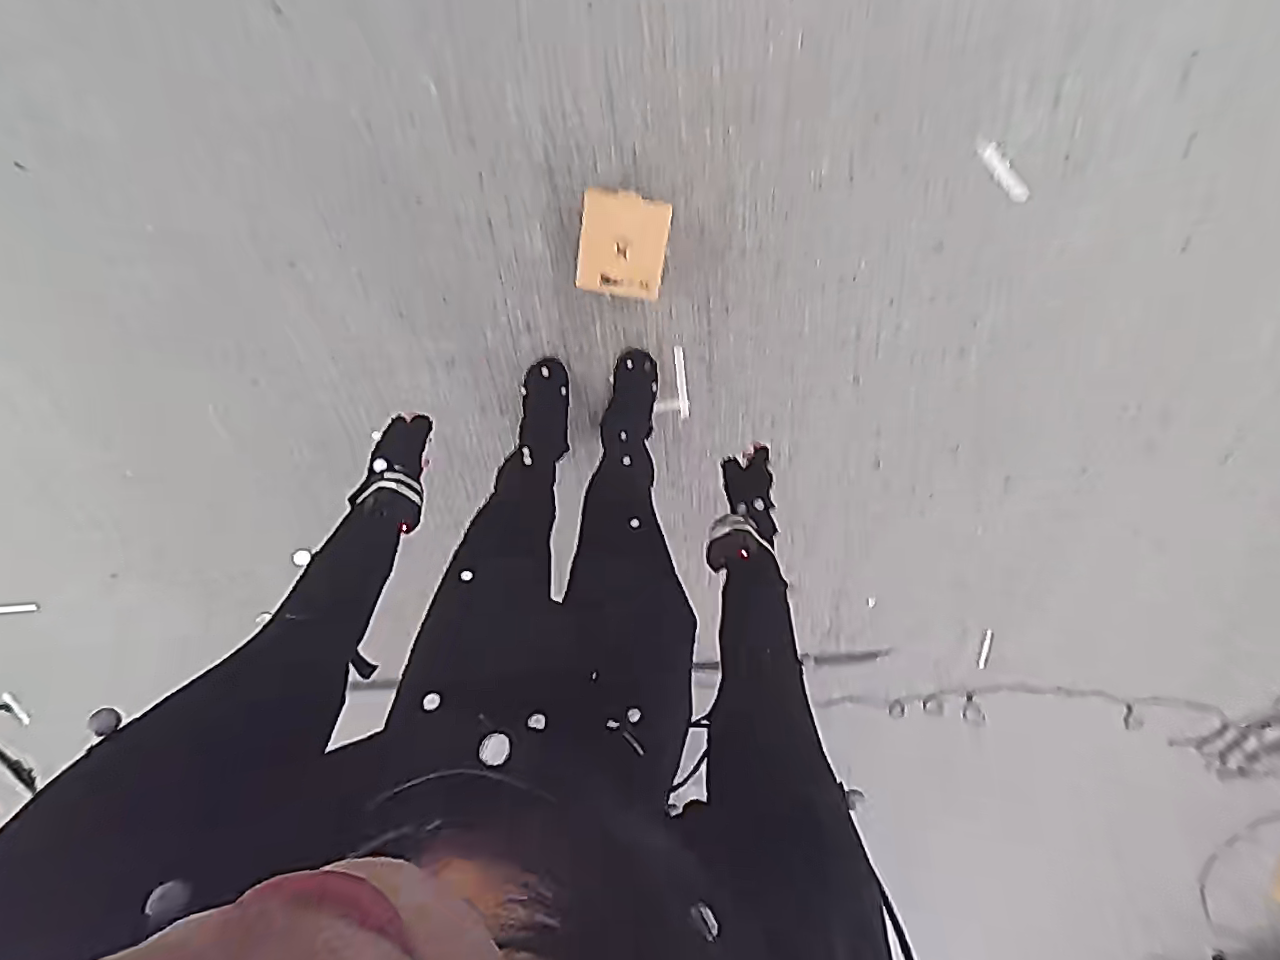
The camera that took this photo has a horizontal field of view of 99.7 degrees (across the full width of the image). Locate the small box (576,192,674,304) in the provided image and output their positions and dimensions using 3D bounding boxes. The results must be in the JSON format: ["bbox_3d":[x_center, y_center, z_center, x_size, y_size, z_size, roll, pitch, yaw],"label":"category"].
[{"bbox_3d":[-0.034,-0.475,1.111,0.168,0.176,0.179,9,114,-5],"label":"small box"}]
